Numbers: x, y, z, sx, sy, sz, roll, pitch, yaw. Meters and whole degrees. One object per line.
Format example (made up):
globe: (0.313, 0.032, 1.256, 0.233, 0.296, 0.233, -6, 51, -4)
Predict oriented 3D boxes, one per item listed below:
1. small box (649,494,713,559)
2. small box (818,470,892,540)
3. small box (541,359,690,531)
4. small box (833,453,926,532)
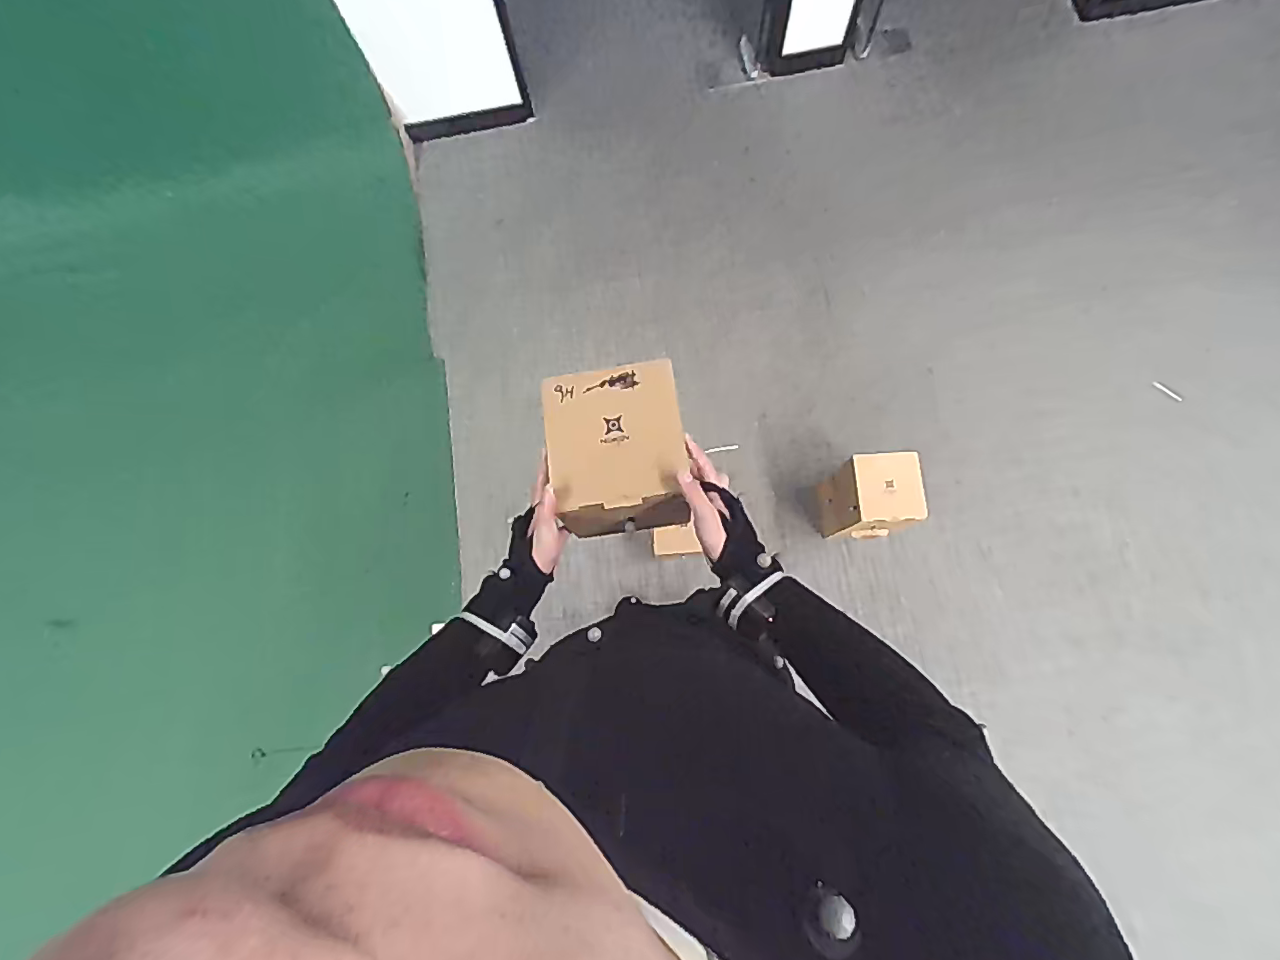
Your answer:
small box: (0.118, 0.142, 1.601, 0.179, 0.176, 0.168, -4, 77, 2)
small box: (0.625, 0.077, 1.587, 0.168, 0.176, 0.179, 2, 78, 6)
small box: (-0.026, -0.033, 0.714, 0.168, 0.176, 0.179, -8, 74, 1)
small box: (0.624, 0.037, 1.432, 0.168, 0.176, 0.179, -3, 77, 2)
